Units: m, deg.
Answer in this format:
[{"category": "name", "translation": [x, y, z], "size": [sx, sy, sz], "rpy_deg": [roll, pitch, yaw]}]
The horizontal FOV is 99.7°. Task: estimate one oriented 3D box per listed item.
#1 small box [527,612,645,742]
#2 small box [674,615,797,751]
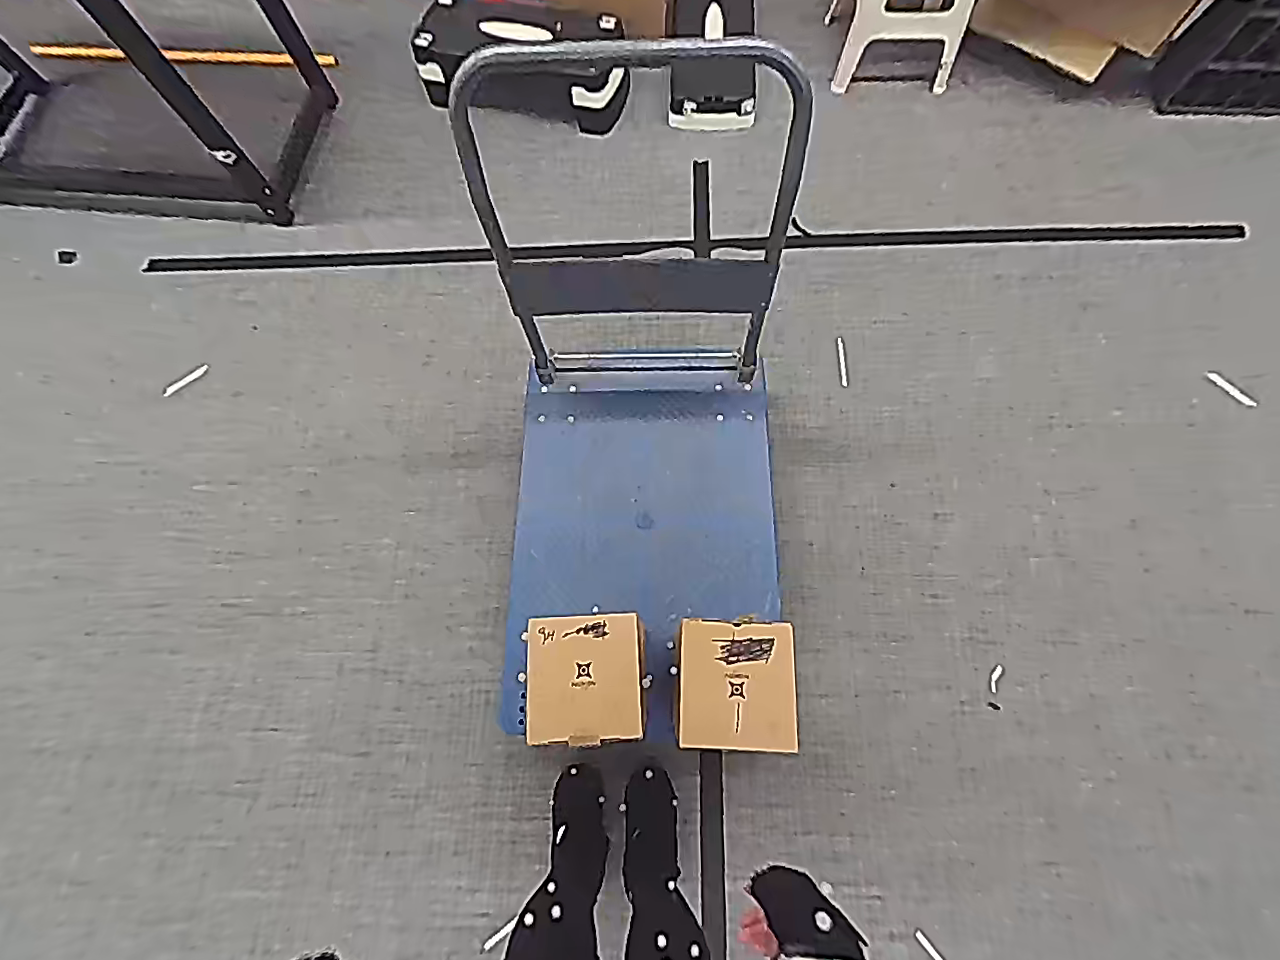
[{"category": "small box", "translation": [-0.078, 0.307, 0.862], "size": [0.168, 0.176, 0.179], "rpy_deg": [-3, 72, 1]}, {"category": "small box", "translation": [0.142, 0.313, 0.851], "size": [0.168, 0.176, 0.179], "rpy_deg": [3, 72, 2]}]
